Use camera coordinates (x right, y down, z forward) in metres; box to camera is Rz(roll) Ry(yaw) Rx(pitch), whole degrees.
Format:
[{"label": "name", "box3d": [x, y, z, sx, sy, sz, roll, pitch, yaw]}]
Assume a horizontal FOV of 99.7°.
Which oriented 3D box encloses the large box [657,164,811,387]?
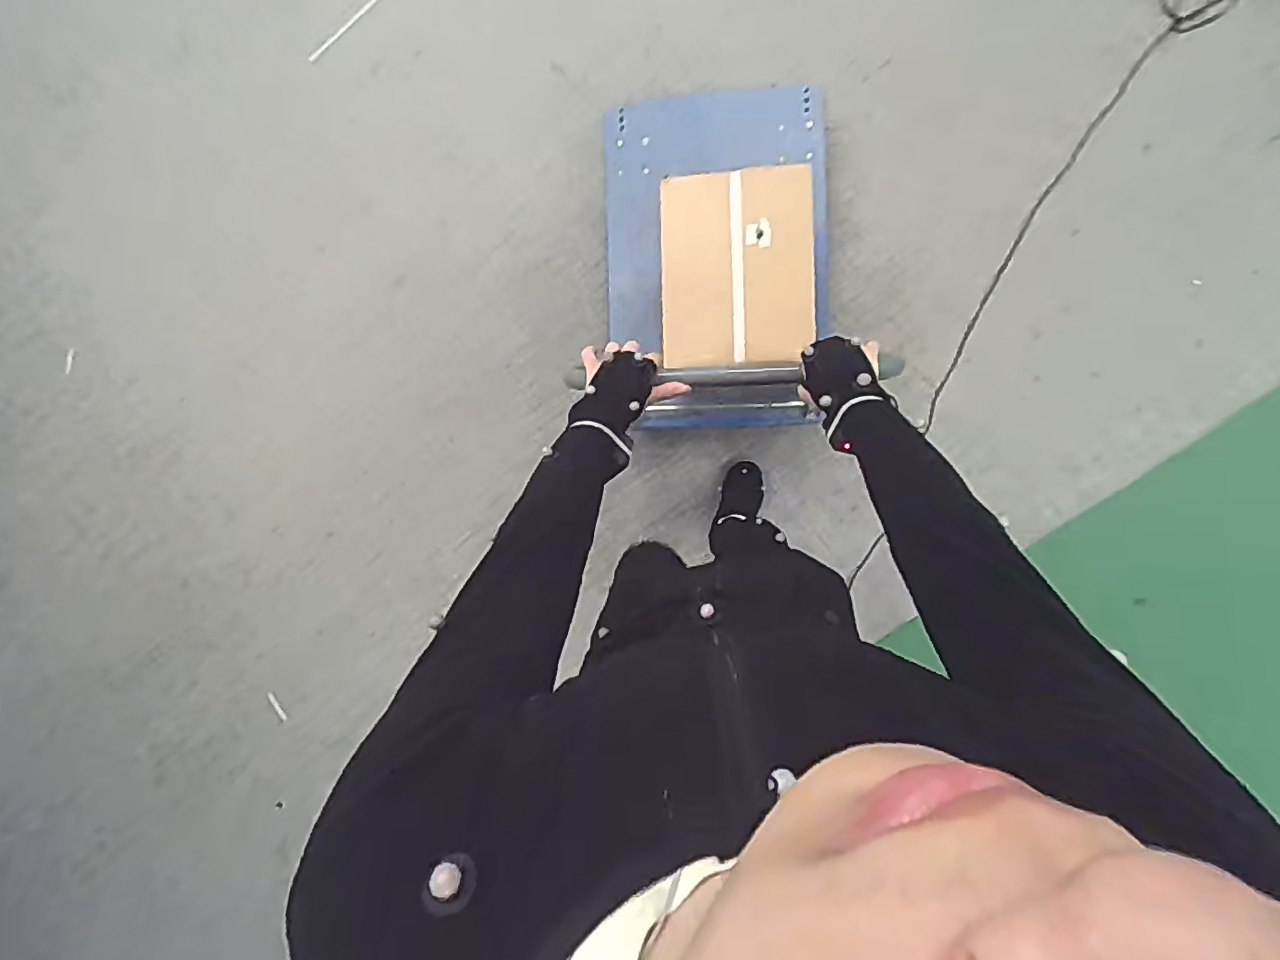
[{"label": "large box", "box3d": [0.215, -0.451, 1.282, 0.320, 0.320, 0.408, -1, 90, 7]}]
